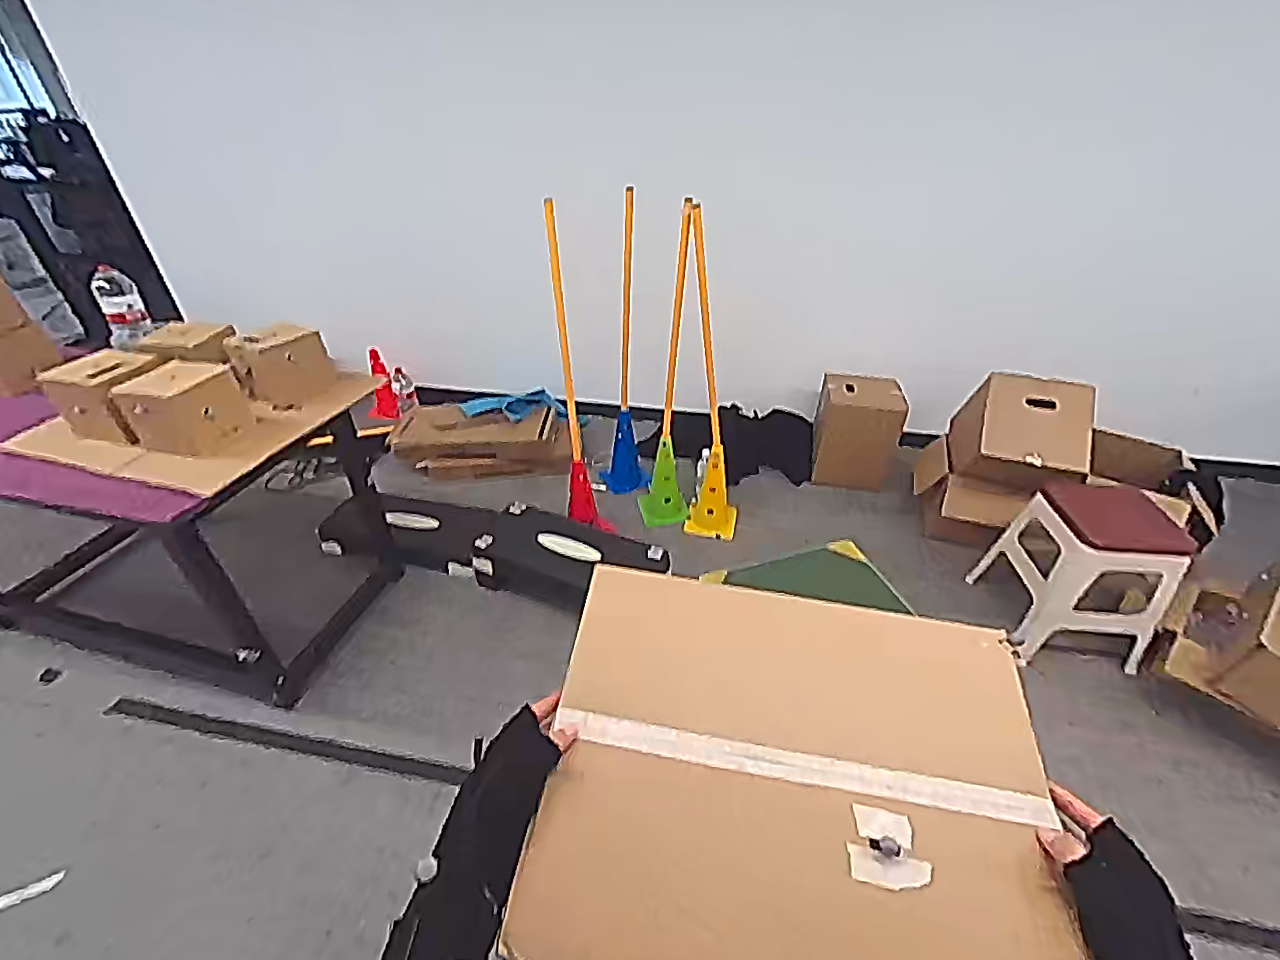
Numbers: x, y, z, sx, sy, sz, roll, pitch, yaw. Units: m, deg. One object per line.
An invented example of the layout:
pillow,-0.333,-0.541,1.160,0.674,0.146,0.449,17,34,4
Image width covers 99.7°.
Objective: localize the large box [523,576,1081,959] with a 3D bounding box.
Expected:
large box,0.128,0.335,0.576,0.408,0.320,0.320,8,51,5
